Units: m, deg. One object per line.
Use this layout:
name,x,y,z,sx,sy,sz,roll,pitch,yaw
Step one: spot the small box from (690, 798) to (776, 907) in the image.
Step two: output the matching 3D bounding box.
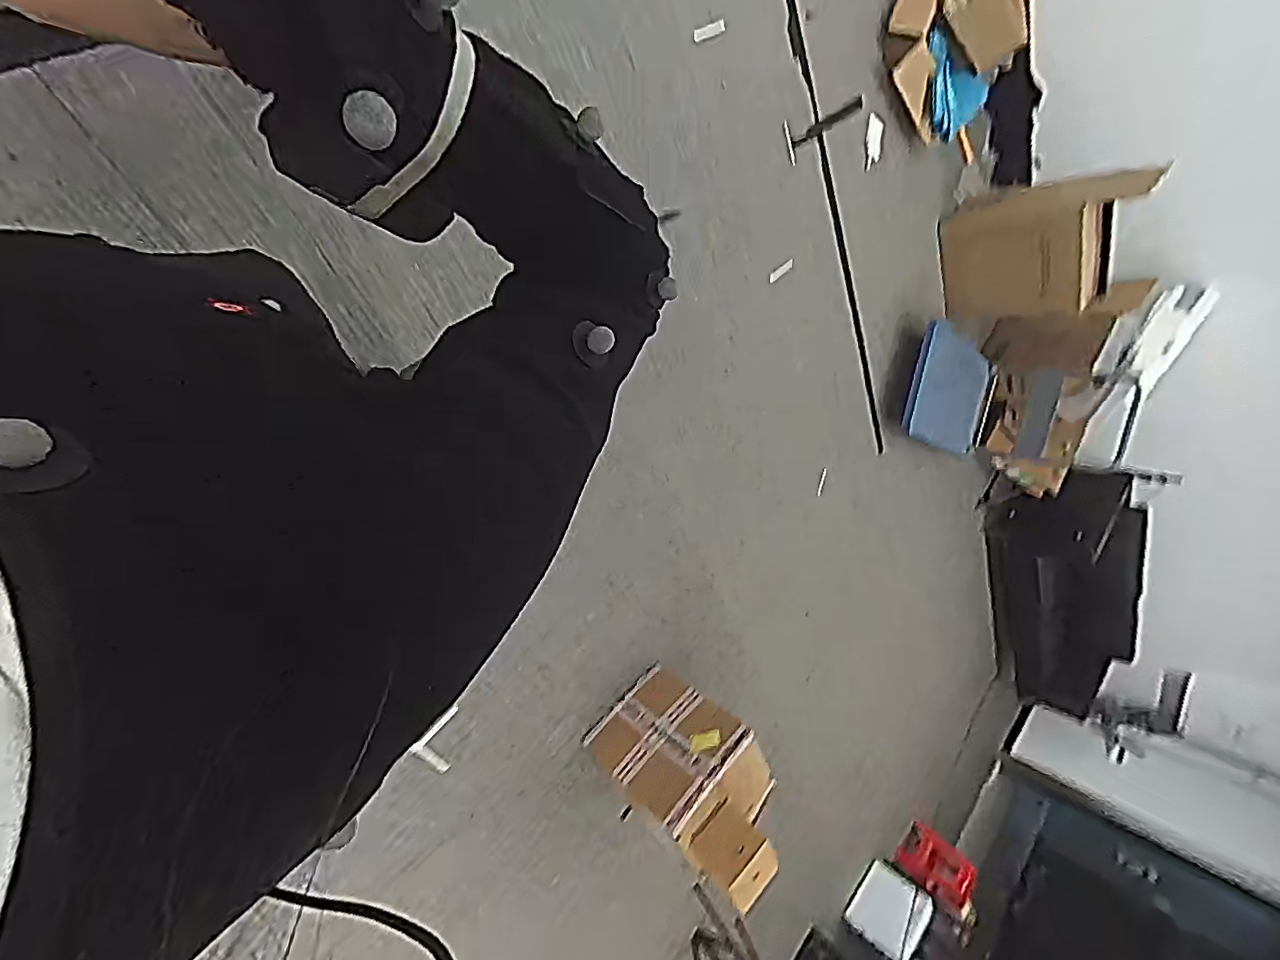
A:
small box,0.281,1.118,1.638,0.179,0.176,0.168,-35,119,-27
